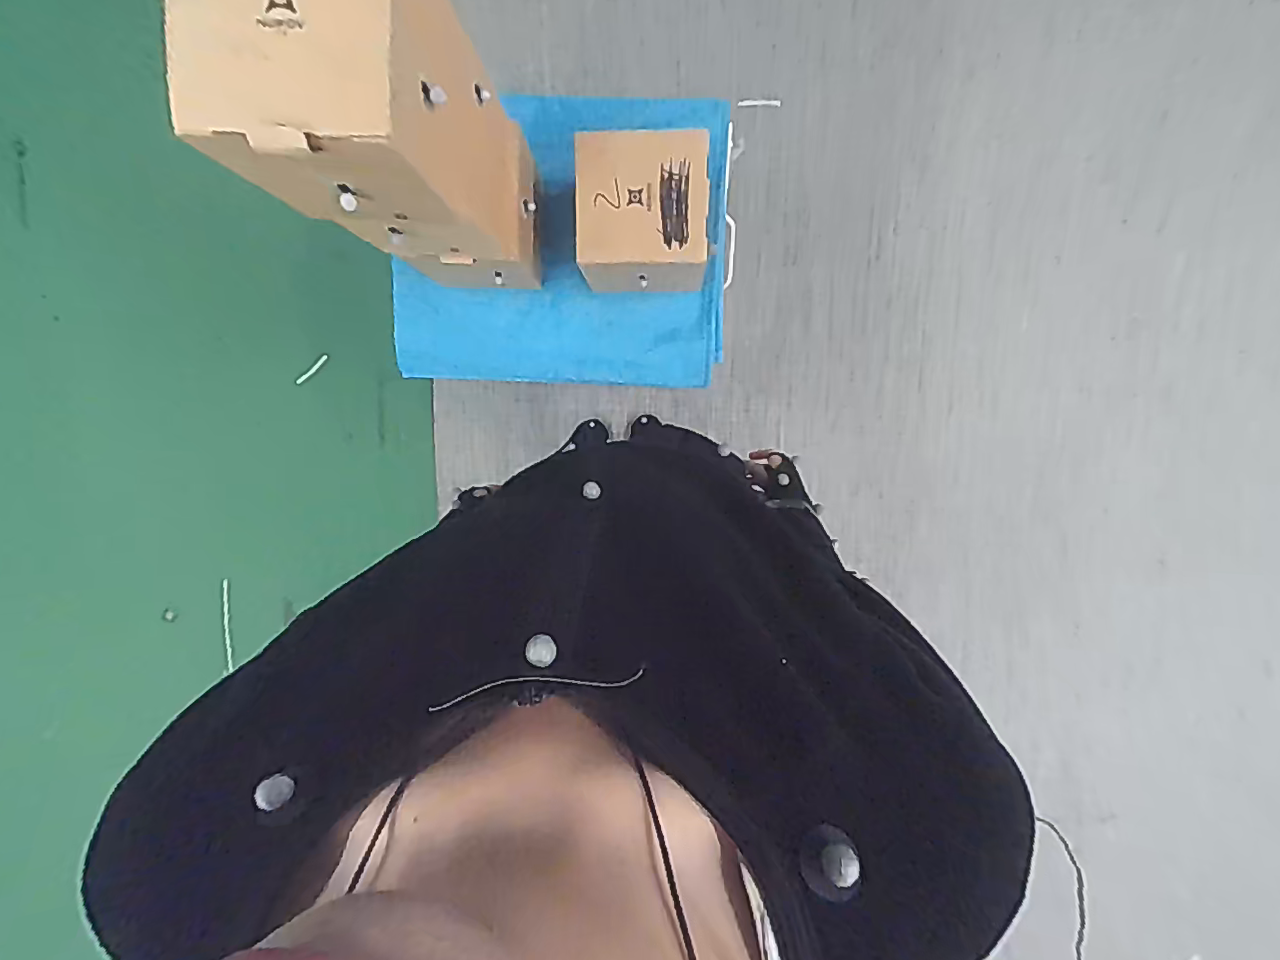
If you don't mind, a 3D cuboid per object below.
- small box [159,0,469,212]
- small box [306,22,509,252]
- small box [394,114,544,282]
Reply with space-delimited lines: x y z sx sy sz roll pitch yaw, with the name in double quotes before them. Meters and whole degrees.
"small box" -0.254 -0.349 0.459 0.168 0.176 0.179 4 96 0
"small box" -0.254 -0.378 0.621 0.168 0.176 0.179 4 95 1
"small box" -0.237 -0.395 0.781 0.168 0.176 0.179 3 96 1
